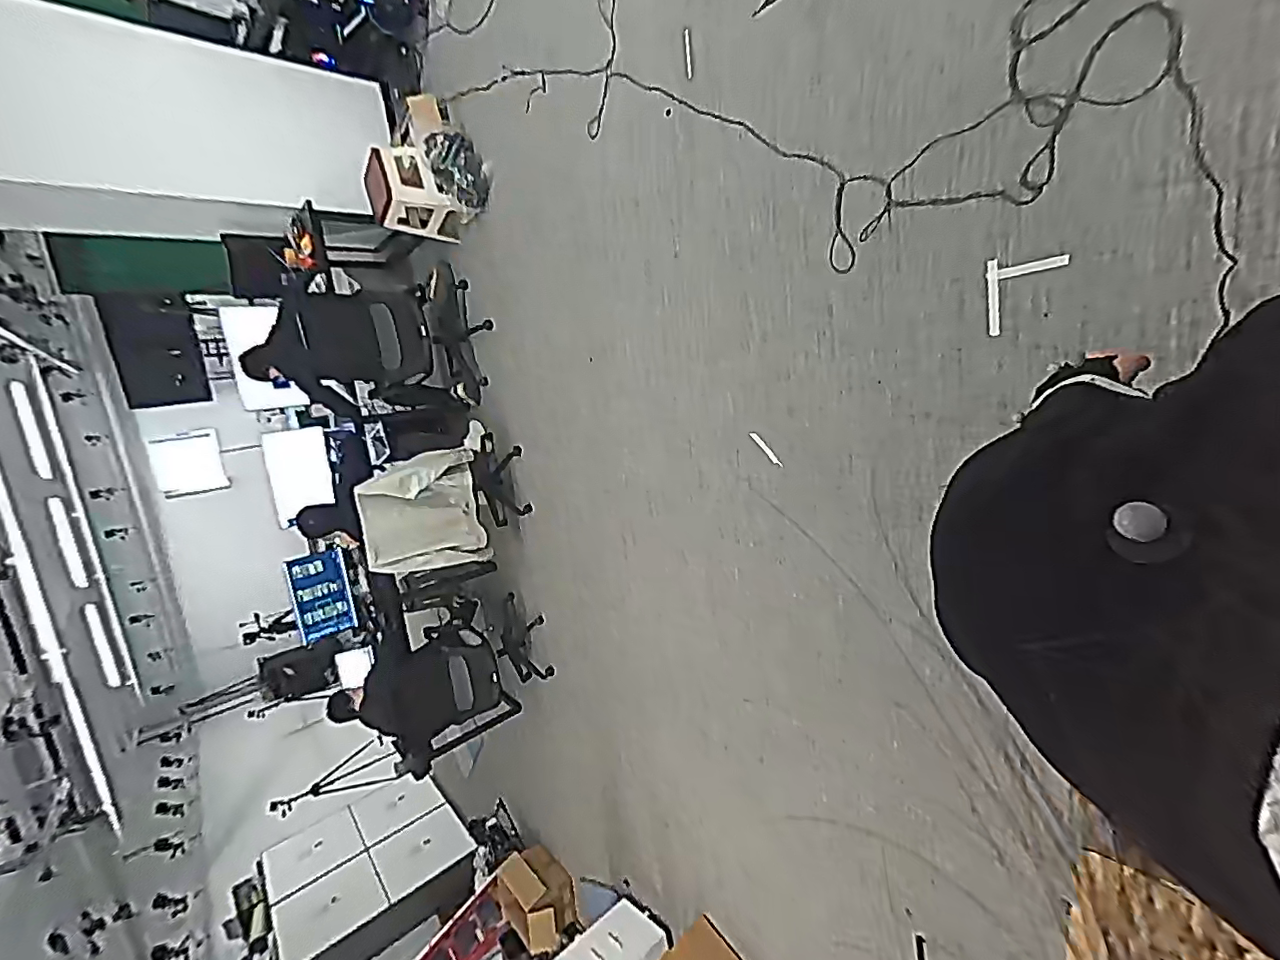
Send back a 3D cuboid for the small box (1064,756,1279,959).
[{"bbox_3d":[0.568,0.434,0.556,0.168,0.176,0.179,10,110,48],"label":"small box"}]
